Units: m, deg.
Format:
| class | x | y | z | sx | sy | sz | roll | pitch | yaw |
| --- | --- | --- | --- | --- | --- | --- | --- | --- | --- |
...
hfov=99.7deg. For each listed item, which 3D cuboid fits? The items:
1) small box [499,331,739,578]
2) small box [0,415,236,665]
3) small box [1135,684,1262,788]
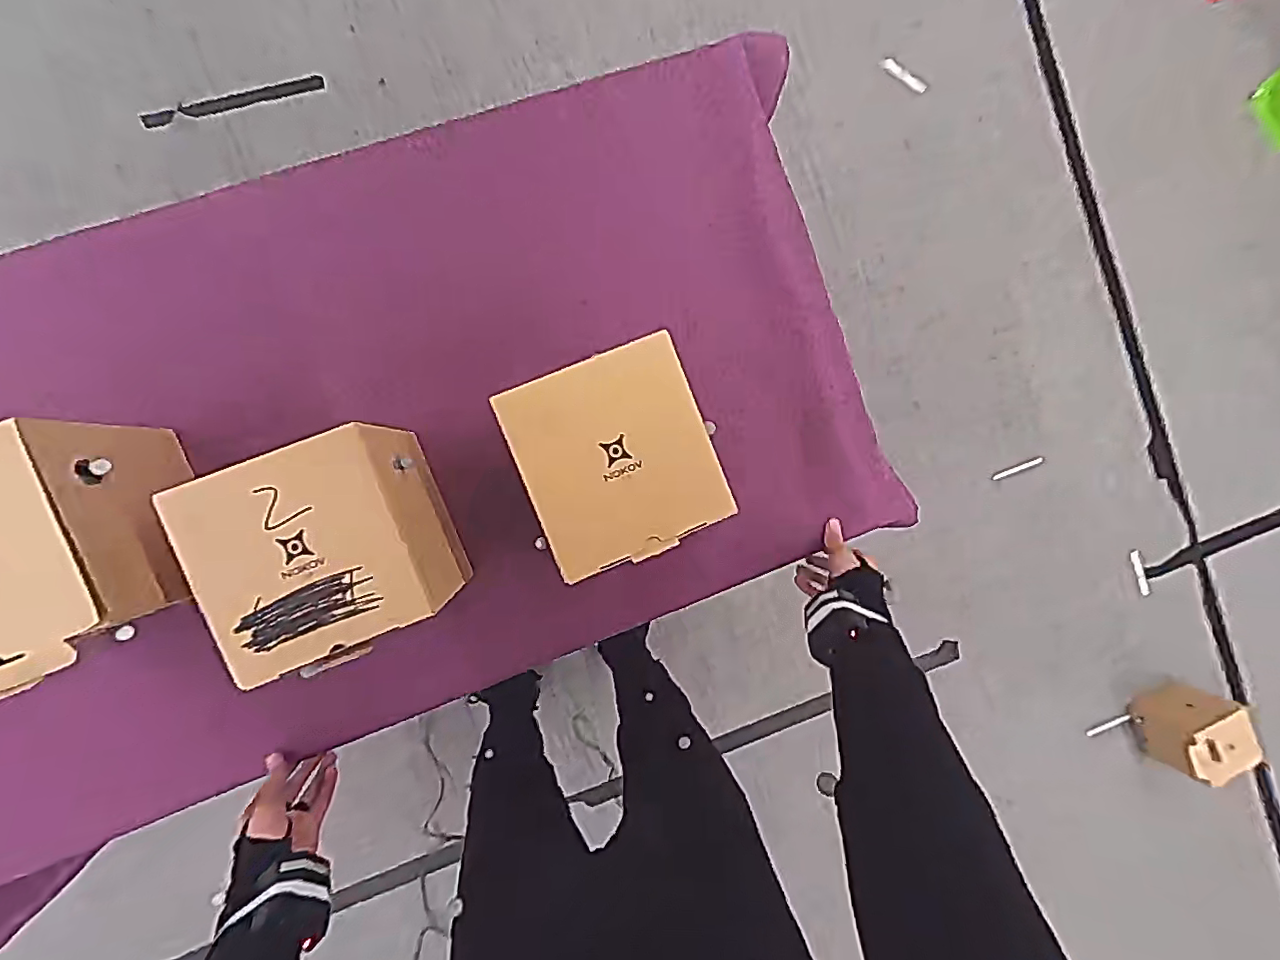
| class | x | y | z | sx | sy | sz | roll | pitch | yaw |
| --- | --- | --- | --- | --- | --- | --- | --- | --- | --- |
| small box | -0.026 | -0.024 | 0.548 | 0.168 | 0.176 | 0.179 | -22 | 94 | -5 |
| small box | -0.525 | 0.055 | 0.492 | 0.168 | 0.176 | 0.179 | -21 | 94 | -5 |
| small box | 1.520 | 0.696 | 1.488 | 0.179 | 0.176 | 0.168 | -22 | 95 | -6 |
